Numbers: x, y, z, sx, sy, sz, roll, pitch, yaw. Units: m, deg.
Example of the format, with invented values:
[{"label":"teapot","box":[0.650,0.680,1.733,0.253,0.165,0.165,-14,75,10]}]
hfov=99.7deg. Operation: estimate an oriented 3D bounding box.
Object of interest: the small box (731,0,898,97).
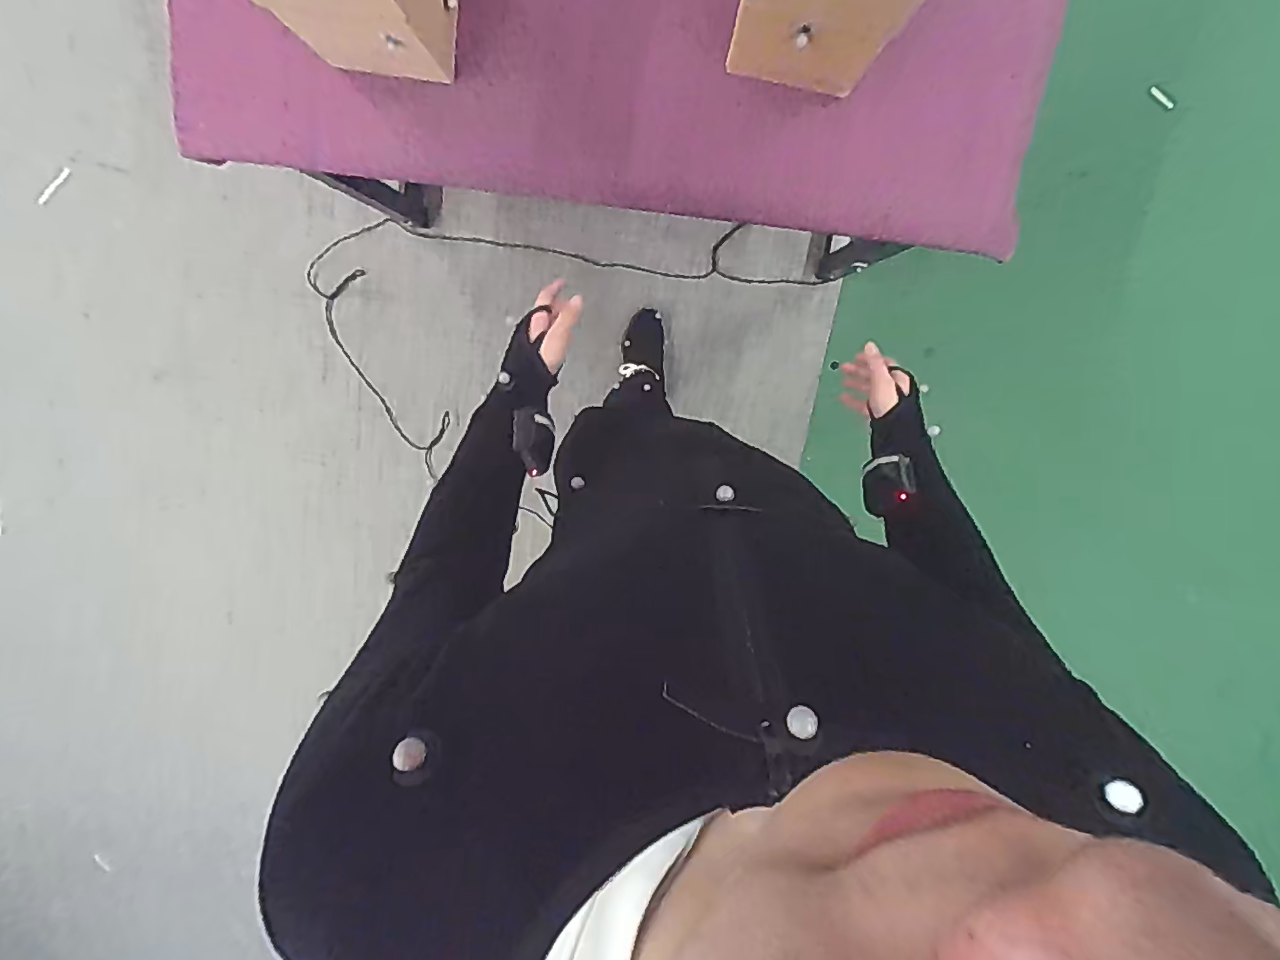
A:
[{"label":"small box","box":[0.222,-0.605,0.659,0.179,0.176,0.168,13,103,0]}]

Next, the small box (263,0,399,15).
[{"label":"small box","box":[-0.333,-0.582,0.506,0.179,0.176,0.168,5,103,0]}]

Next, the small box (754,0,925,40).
[{"label":"small box","box":[0.215,-0.557,0.502,0.179,0.176,0.168,13,104,0]}]
